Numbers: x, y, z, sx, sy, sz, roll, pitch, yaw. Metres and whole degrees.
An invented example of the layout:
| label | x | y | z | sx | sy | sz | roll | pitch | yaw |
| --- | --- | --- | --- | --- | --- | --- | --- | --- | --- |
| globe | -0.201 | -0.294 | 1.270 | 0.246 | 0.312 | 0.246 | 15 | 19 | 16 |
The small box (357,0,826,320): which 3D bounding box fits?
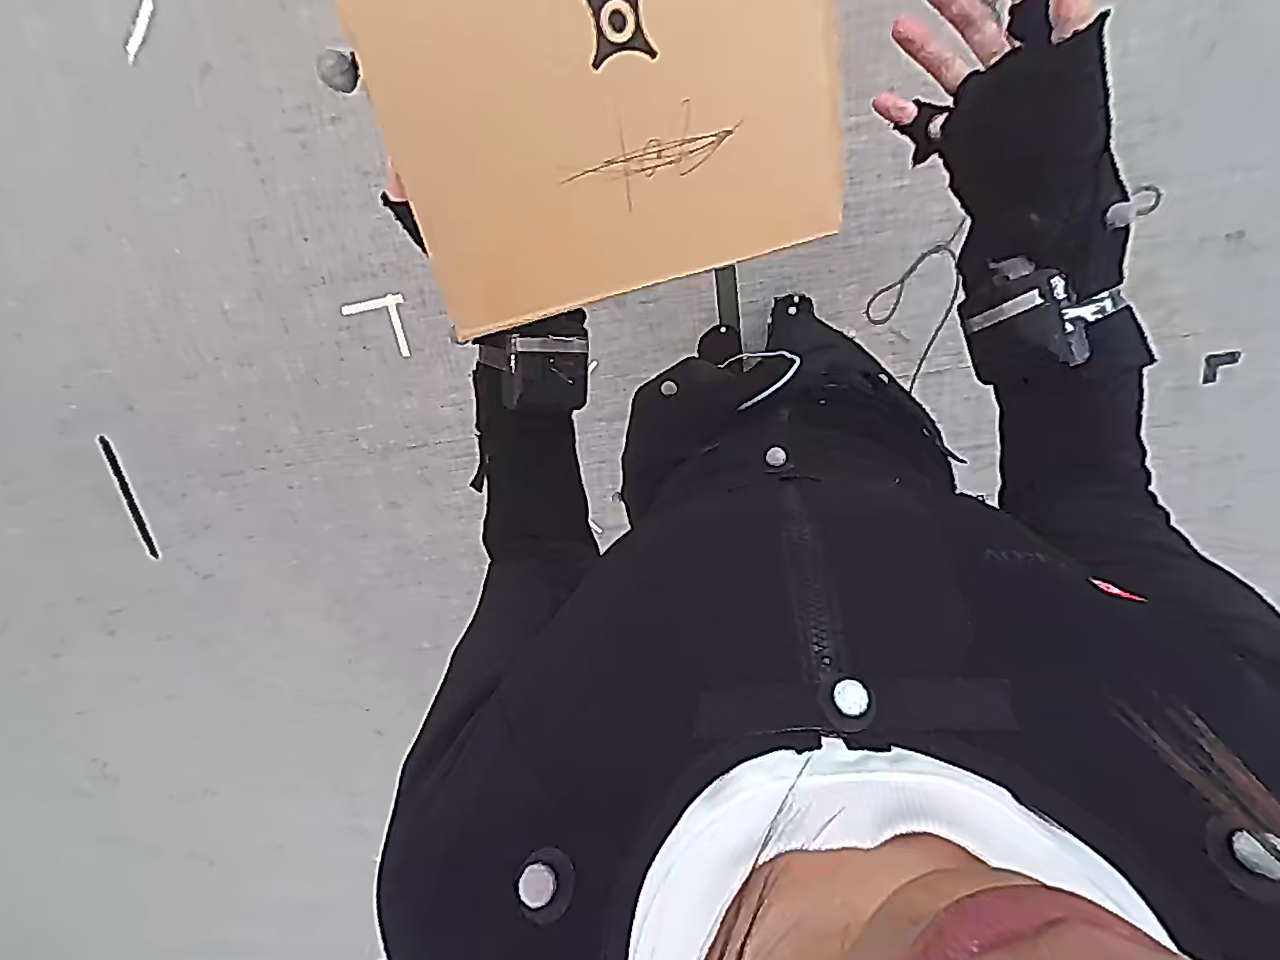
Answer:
| label | x | y | z | sx | sy | sz | roll | pitch | yaw |
| --- | --- | --- | --- | --- | --- | --- | --- | --- | --- |
| small box | -0.033 | -0.191 | 0.256 | 0.168 | 0.176 | 0.179 | -18 | 119 | -10 |
